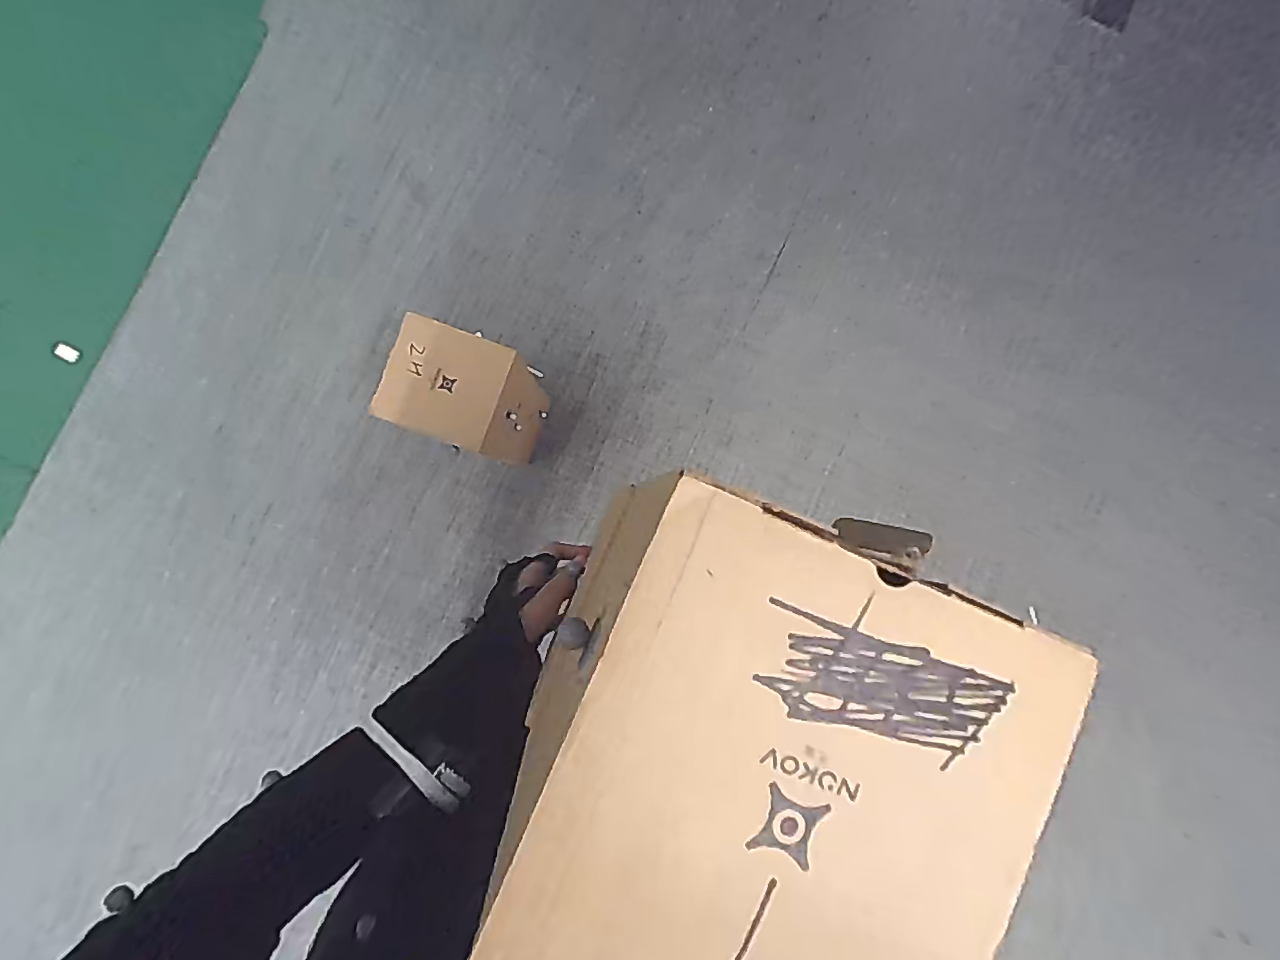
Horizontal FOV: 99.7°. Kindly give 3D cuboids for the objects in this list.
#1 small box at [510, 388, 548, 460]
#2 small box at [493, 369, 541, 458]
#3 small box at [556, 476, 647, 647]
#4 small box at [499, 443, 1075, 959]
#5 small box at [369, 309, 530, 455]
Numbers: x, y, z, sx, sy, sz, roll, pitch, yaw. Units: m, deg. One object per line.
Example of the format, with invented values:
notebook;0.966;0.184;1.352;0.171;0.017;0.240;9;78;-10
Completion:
small box;-0.319;-0.150;1.211;0.179;0.176;0.168;20;87;-1
small box;-0.309;-0.147;1.047;0.179;0.176;0.168;20;88;-1
small box;0.023;0.111;0.600;0.168;0.176;0.179;24;86;-3
small box;0.051;0.100;0.272;0.168;0.176;0.179;24;86;-3
small box;-0.295;-0.147;0.882;0.179;0.176;0.168;21;86;-1
